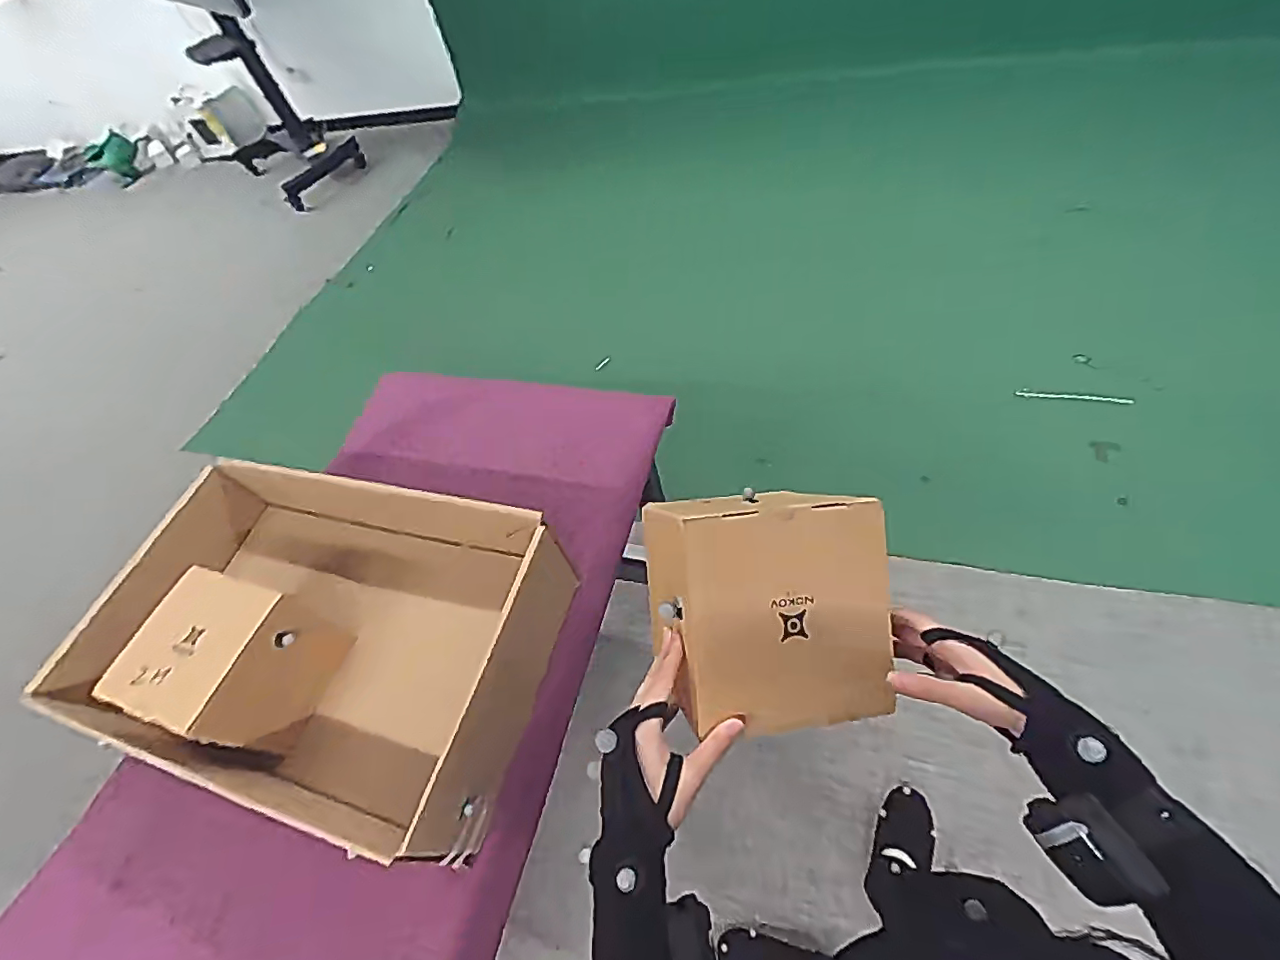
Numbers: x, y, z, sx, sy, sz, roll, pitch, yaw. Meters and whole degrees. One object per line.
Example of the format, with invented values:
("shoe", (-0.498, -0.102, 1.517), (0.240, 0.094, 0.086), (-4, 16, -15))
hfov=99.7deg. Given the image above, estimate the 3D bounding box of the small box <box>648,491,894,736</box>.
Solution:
("small box", (0.105, 0.103, 0.498), (0.168, 0.176, 0.179), (-5, 89, -9))
